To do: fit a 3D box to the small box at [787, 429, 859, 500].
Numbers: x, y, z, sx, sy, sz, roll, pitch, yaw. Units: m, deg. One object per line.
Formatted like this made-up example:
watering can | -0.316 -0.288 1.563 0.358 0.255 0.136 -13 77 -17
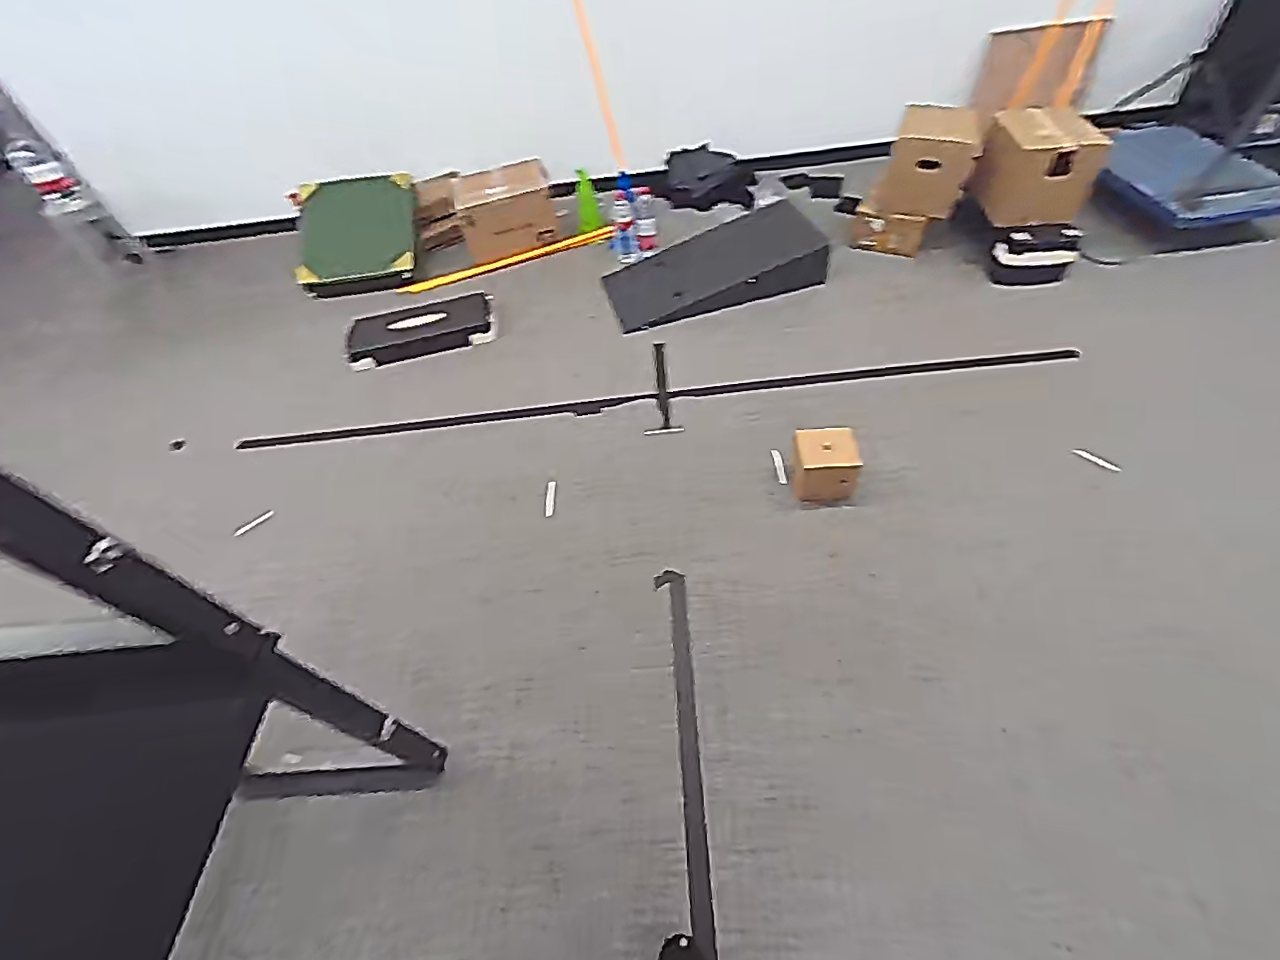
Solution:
small box | 0.587 -0.047 1.753 0.179 0.176 0.168 -3 51 5
